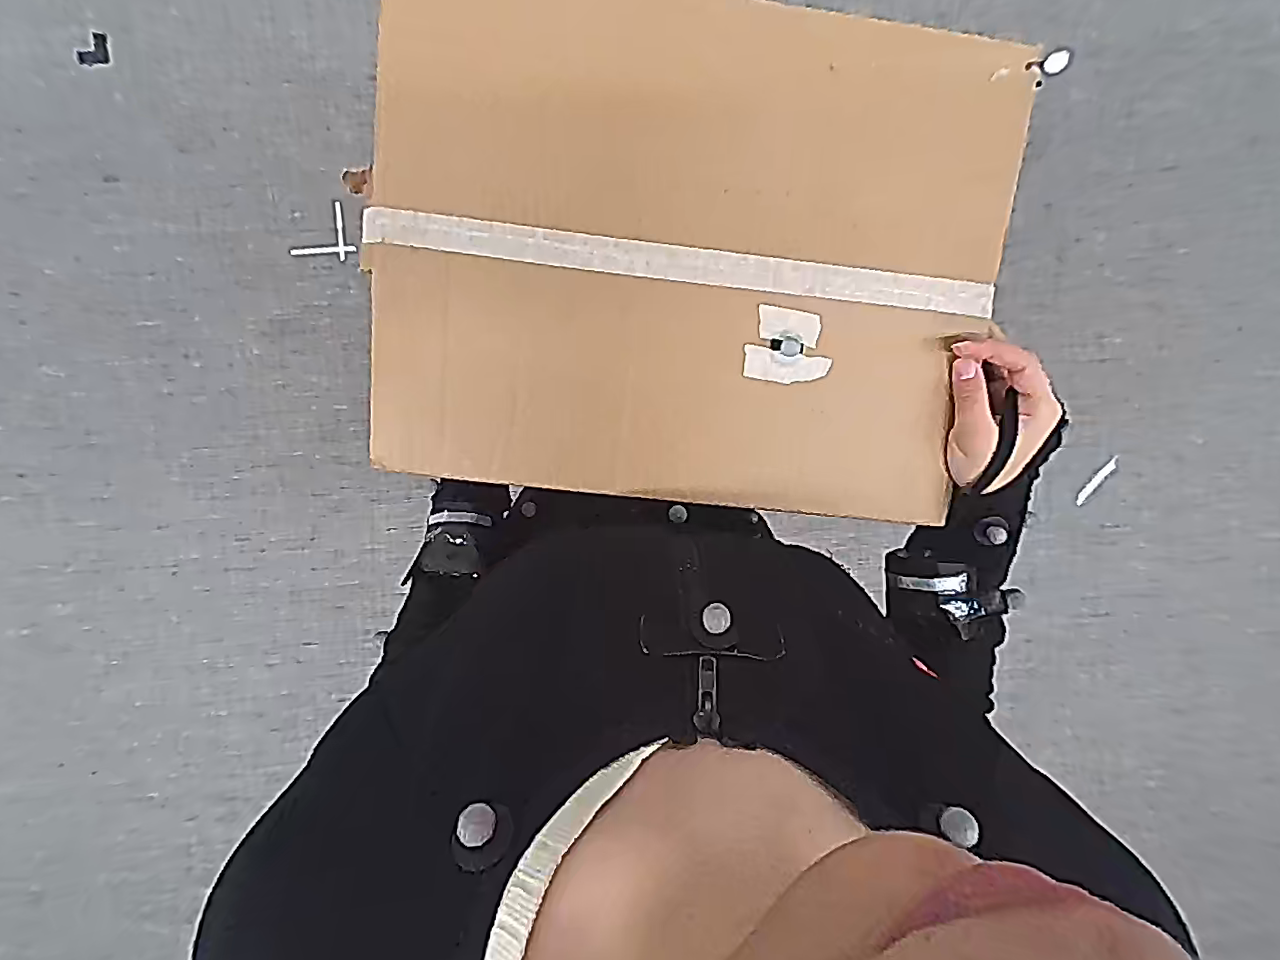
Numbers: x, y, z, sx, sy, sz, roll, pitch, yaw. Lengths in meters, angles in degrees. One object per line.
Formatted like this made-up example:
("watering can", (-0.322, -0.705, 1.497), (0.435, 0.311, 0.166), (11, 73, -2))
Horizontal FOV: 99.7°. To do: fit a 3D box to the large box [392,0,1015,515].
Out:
("large box", (0.027, -0.161, 0.508), (0.408, 0.320, 0.320), (5, 100, -5))
